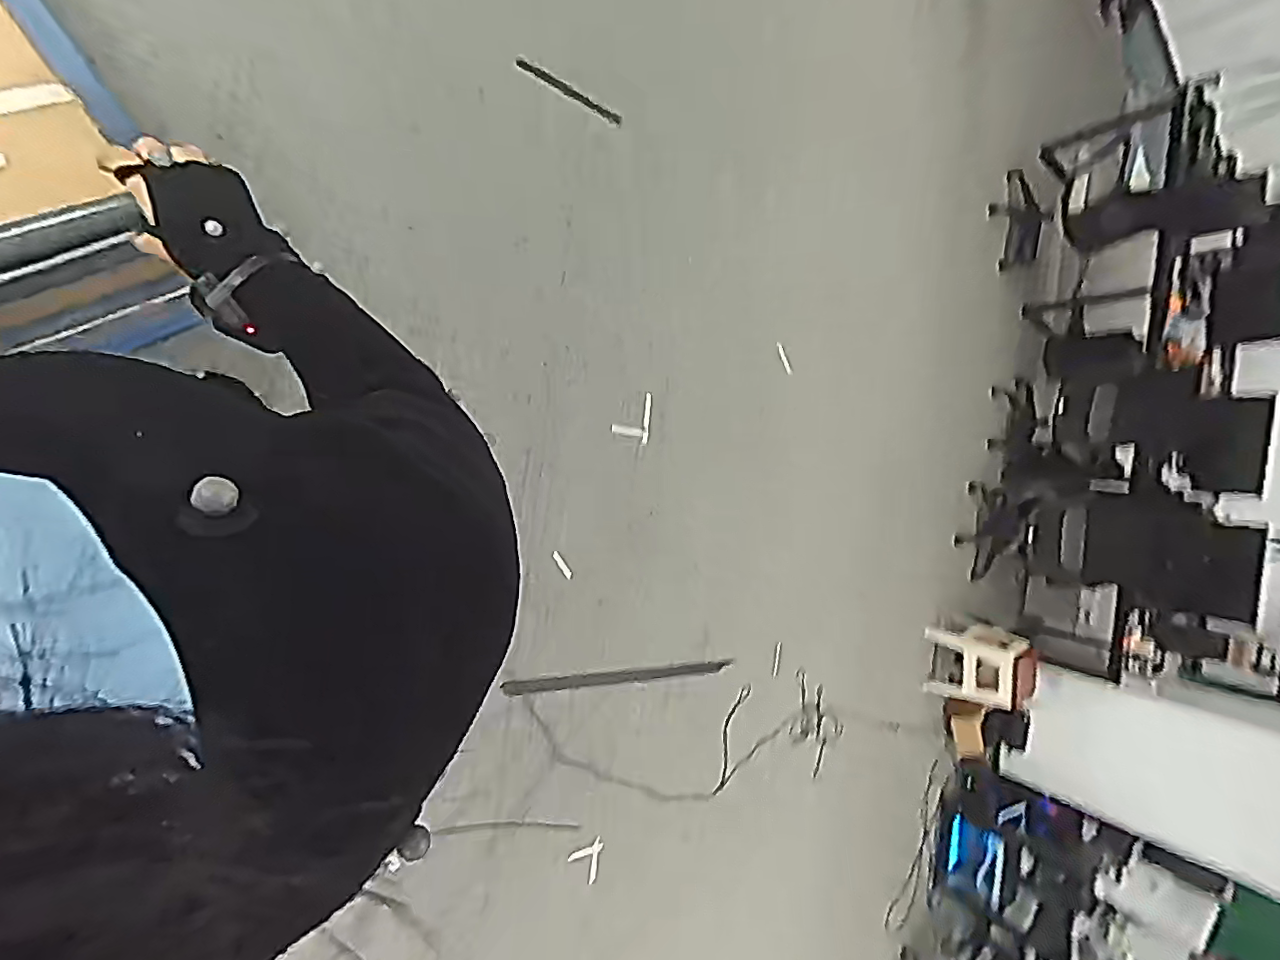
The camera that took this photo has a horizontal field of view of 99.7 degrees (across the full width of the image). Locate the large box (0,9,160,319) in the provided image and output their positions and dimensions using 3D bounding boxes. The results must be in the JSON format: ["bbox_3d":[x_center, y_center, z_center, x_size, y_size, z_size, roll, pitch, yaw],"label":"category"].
[{"bbox_3d":[-0.982,-0.404,0.725,0.408,0.320,0.320,-40,117,-30],"label":"large box"}]
